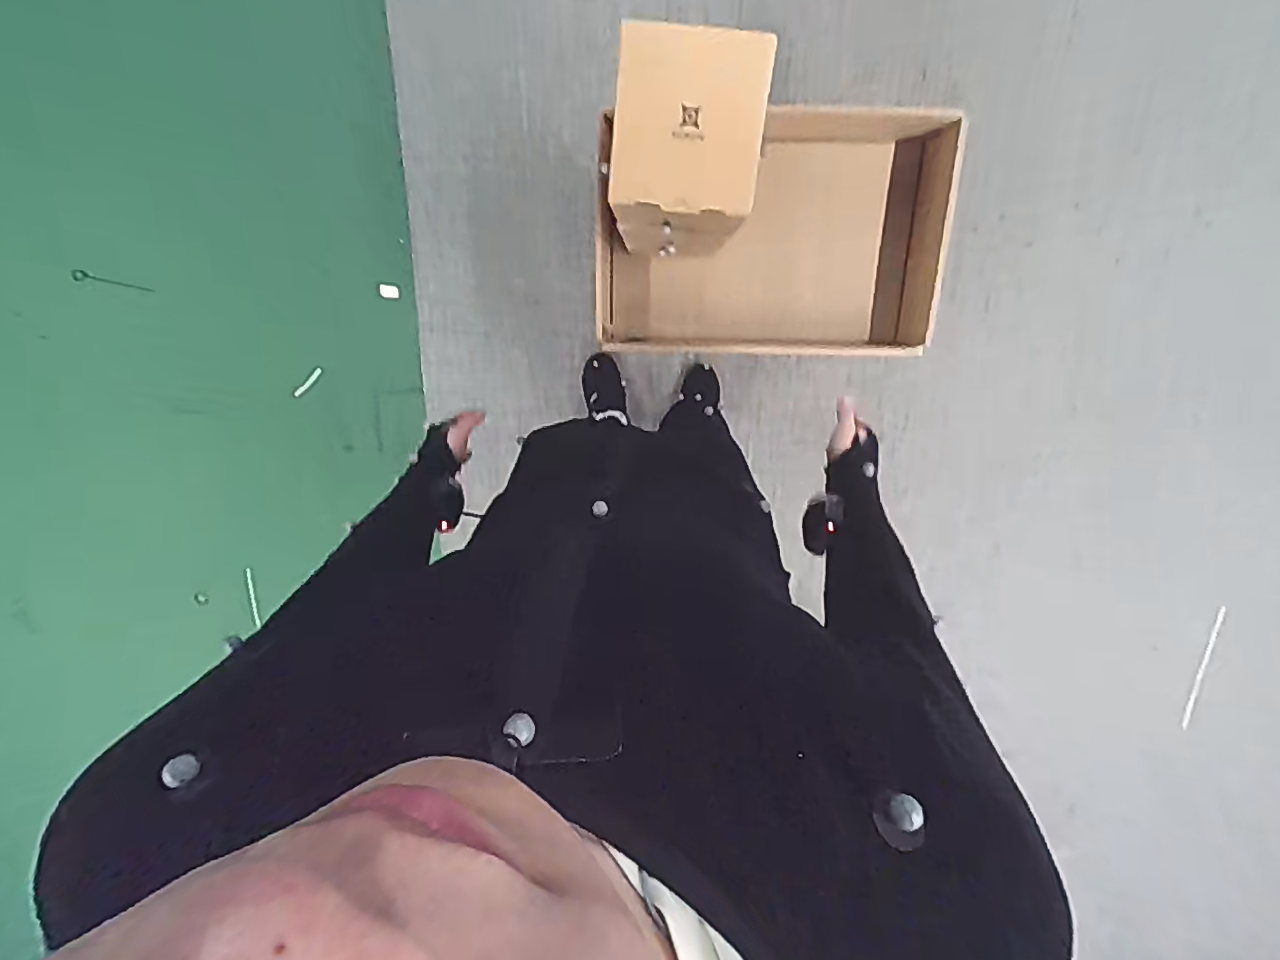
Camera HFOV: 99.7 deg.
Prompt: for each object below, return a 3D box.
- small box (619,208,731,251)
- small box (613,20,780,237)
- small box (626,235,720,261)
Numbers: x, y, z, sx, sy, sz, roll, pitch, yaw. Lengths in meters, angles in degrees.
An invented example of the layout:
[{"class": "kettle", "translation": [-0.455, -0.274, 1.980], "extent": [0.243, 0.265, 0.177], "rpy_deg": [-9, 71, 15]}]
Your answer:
[{"class": "small box", "translation": [0.059, -0.459, 0.823], "extent": [0.168, 0.176, 0.179], "rpy_deg": [5, 107, 0]}, {"class": "small box", "translation": [0.059, -0.413, 0.667], "extent": [0.168, 0.176, 0.179], "rpy_deg": [6, 107, -1]}, {"class": "small box", "translation": [0.061, -0.504, 0.980], "extent": [0.168, 0.176, 0.179], "rpy_deg": [3, 106, 1]}]
